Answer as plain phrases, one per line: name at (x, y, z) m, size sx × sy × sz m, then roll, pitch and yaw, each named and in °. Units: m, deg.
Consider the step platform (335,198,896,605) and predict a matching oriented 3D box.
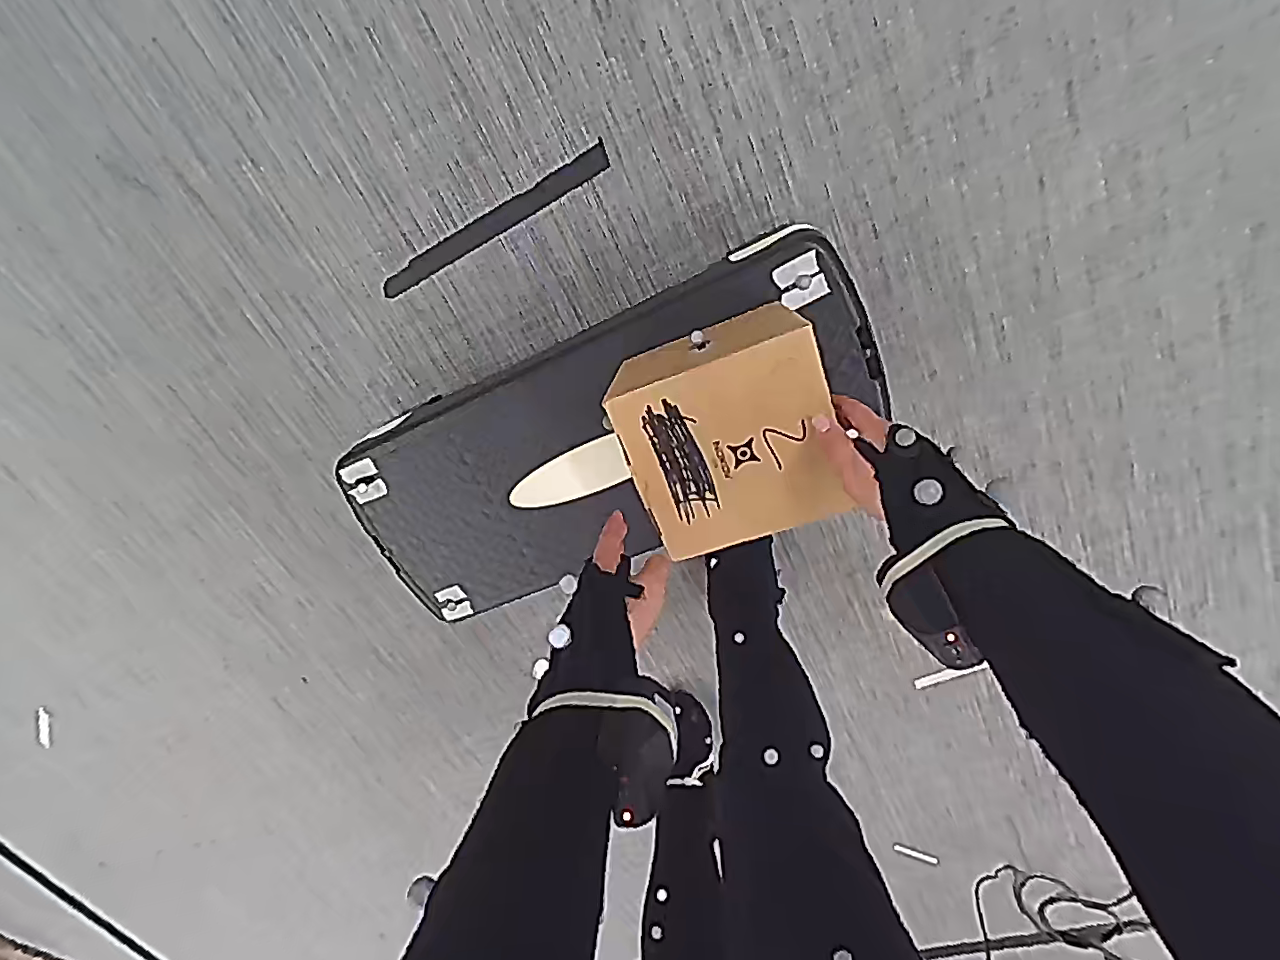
step platform at (-0.040, -0.080, 0.715) m, size 0.684 × 0.204 × 0.286 m, roll -22°, pitch 110°, yaw 14°
